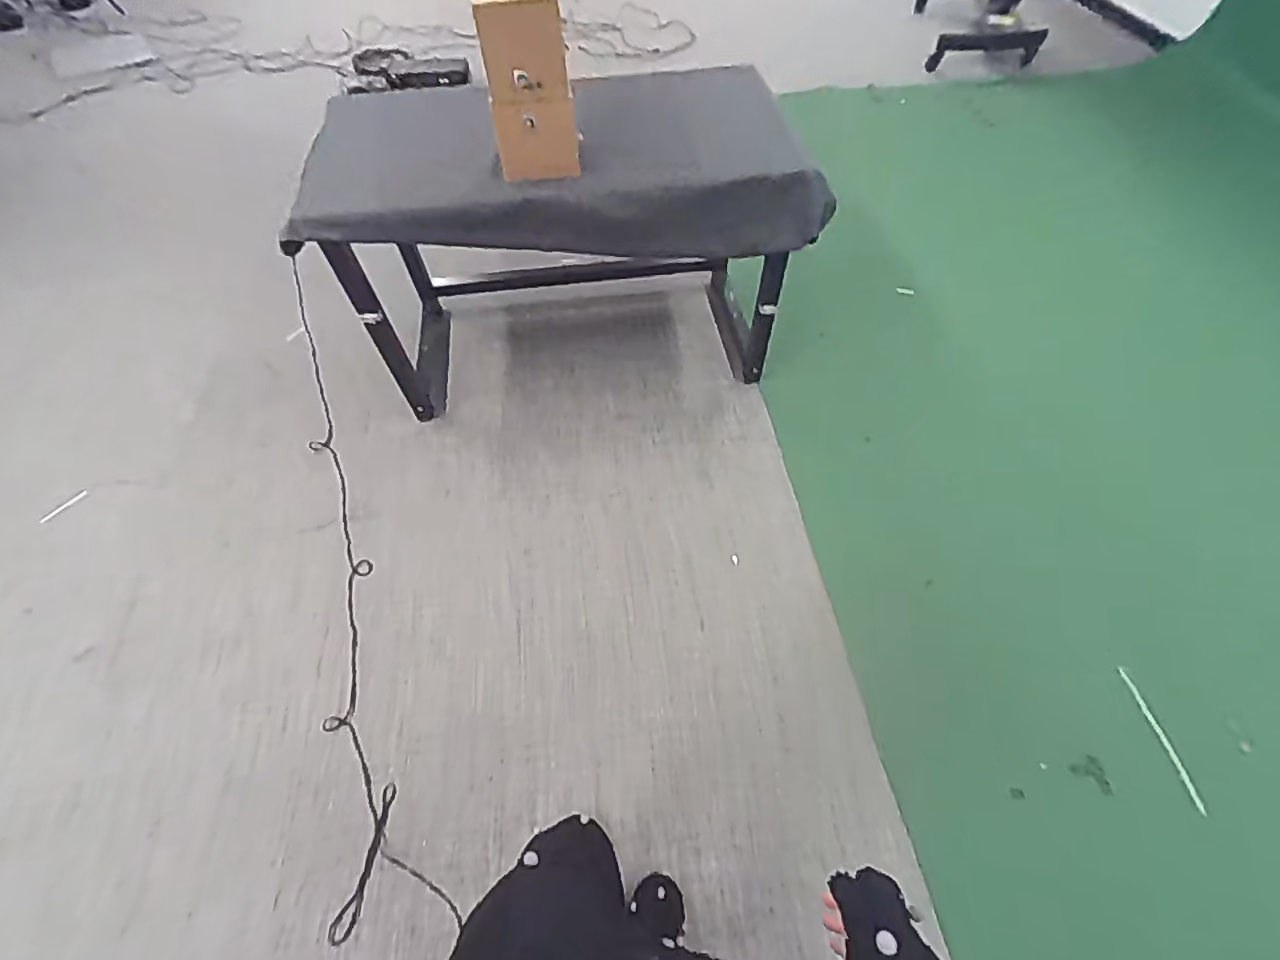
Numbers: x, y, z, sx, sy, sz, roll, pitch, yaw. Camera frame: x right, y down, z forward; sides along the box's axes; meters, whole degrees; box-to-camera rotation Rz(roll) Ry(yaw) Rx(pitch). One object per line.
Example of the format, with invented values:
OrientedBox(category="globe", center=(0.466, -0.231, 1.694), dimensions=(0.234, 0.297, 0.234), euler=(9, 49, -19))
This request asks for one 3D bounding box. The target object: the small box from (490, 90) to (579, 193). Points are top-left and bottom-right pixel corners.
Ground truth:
OrientedBox(category="small box", center=(-0.242, -0.796, 1.268), dimensions=(0.179, 0.176, 0.168), euler=(-6, 57, -4))

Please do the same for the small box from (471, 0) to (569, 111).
OrientedBox(category="small box", center=(-0.245, -0.901, 1.124), dimensions=(0.168, 0.176, 0.179), euler=(-9, 57, -3))
